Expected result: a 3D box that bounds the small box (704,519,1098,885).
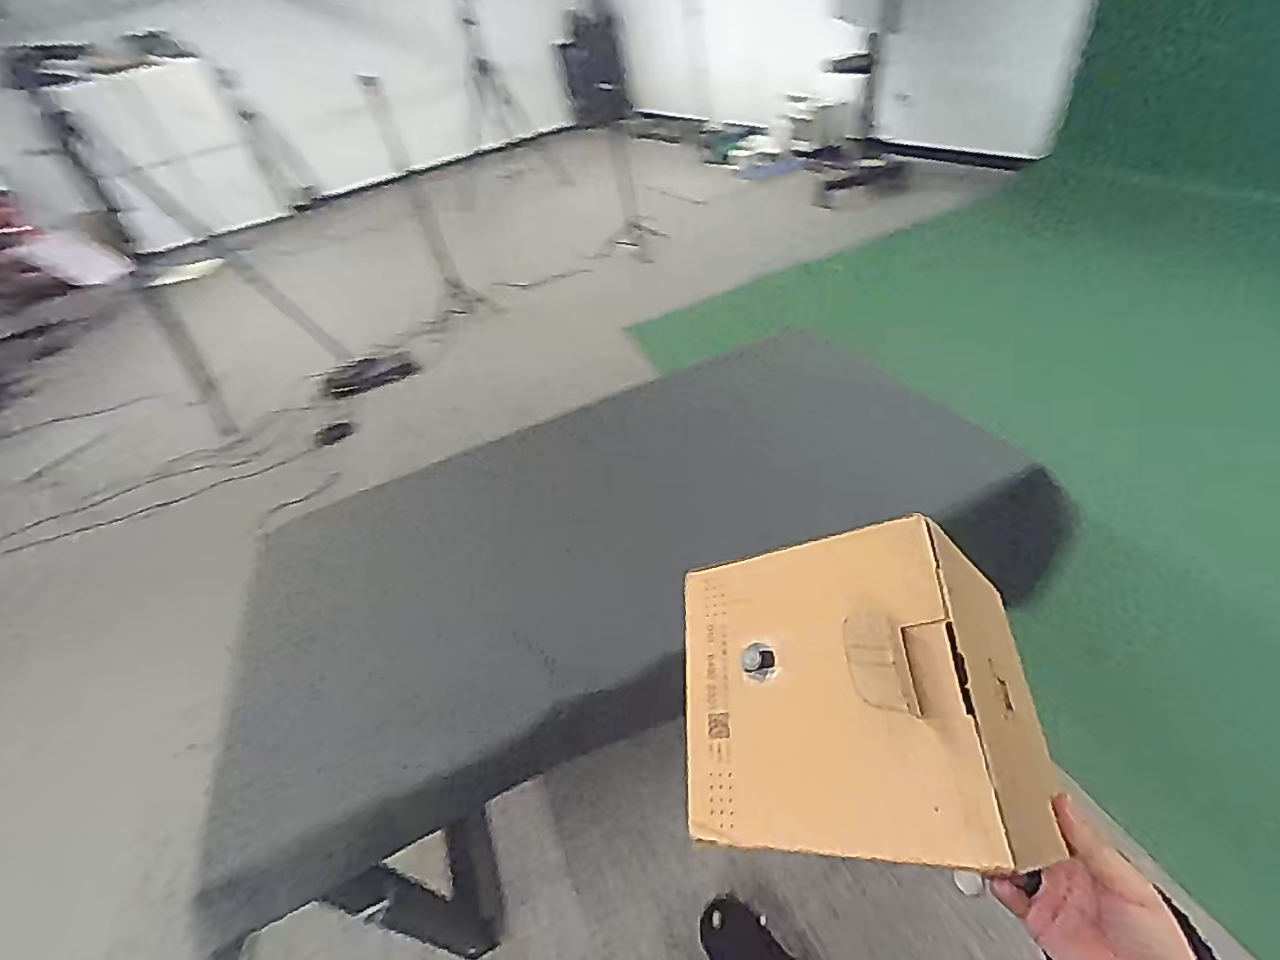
[{"bbox_3d":[0.159,0.146,0.352,0.176,0.179,0.168,-21,52,36],"label":"small box"}]
